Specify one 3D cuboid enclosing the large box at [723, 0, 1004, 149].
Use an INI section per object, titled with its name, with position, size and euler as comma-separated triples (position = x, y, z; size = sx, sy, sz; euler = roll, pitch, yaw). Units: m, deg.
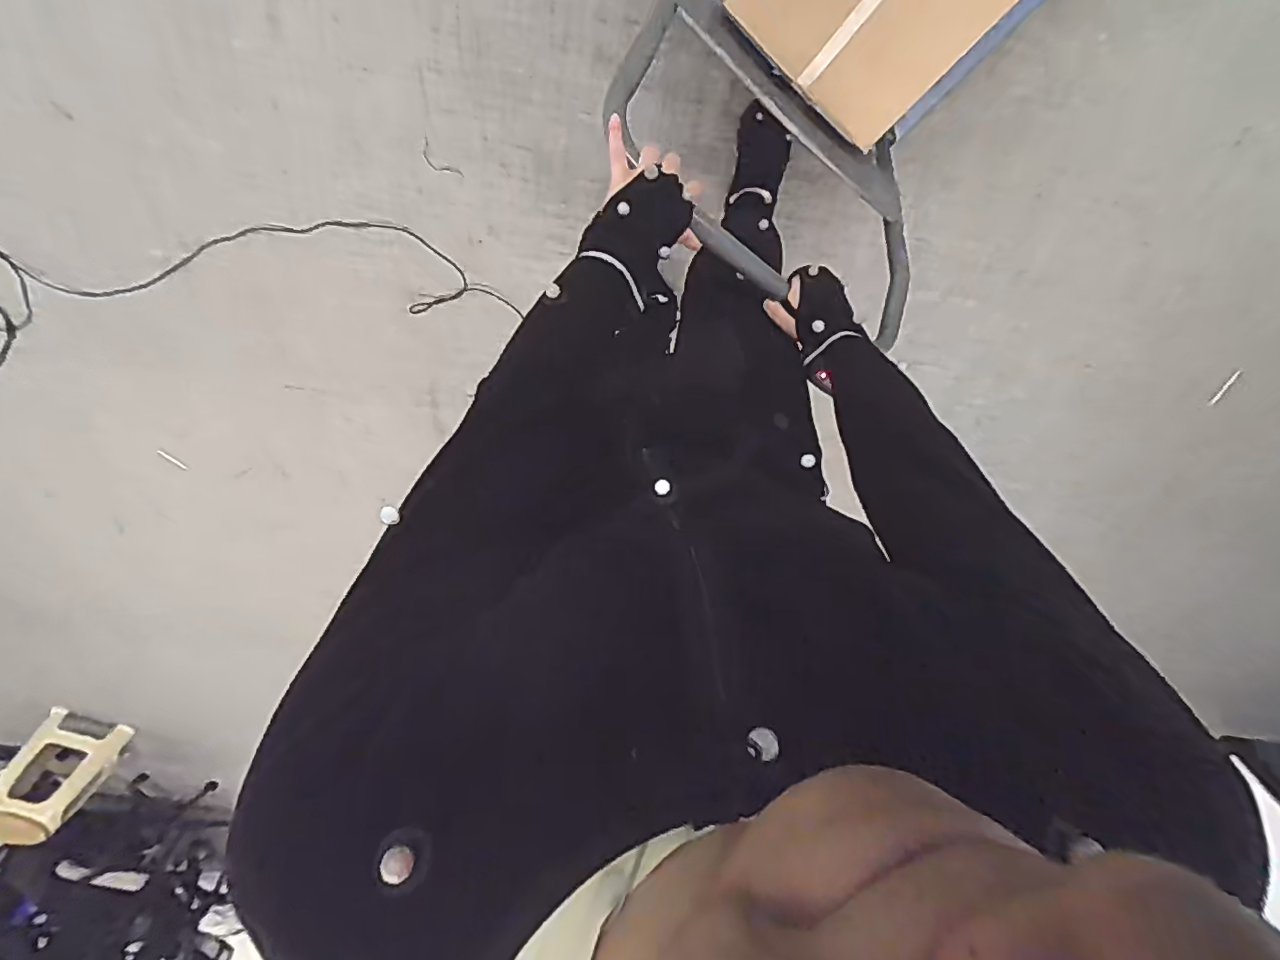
[large box]
position = 0.370, -0.815, 0.796
size = 0.320, 0.320, 0.408
euler = 29, 137, -22
